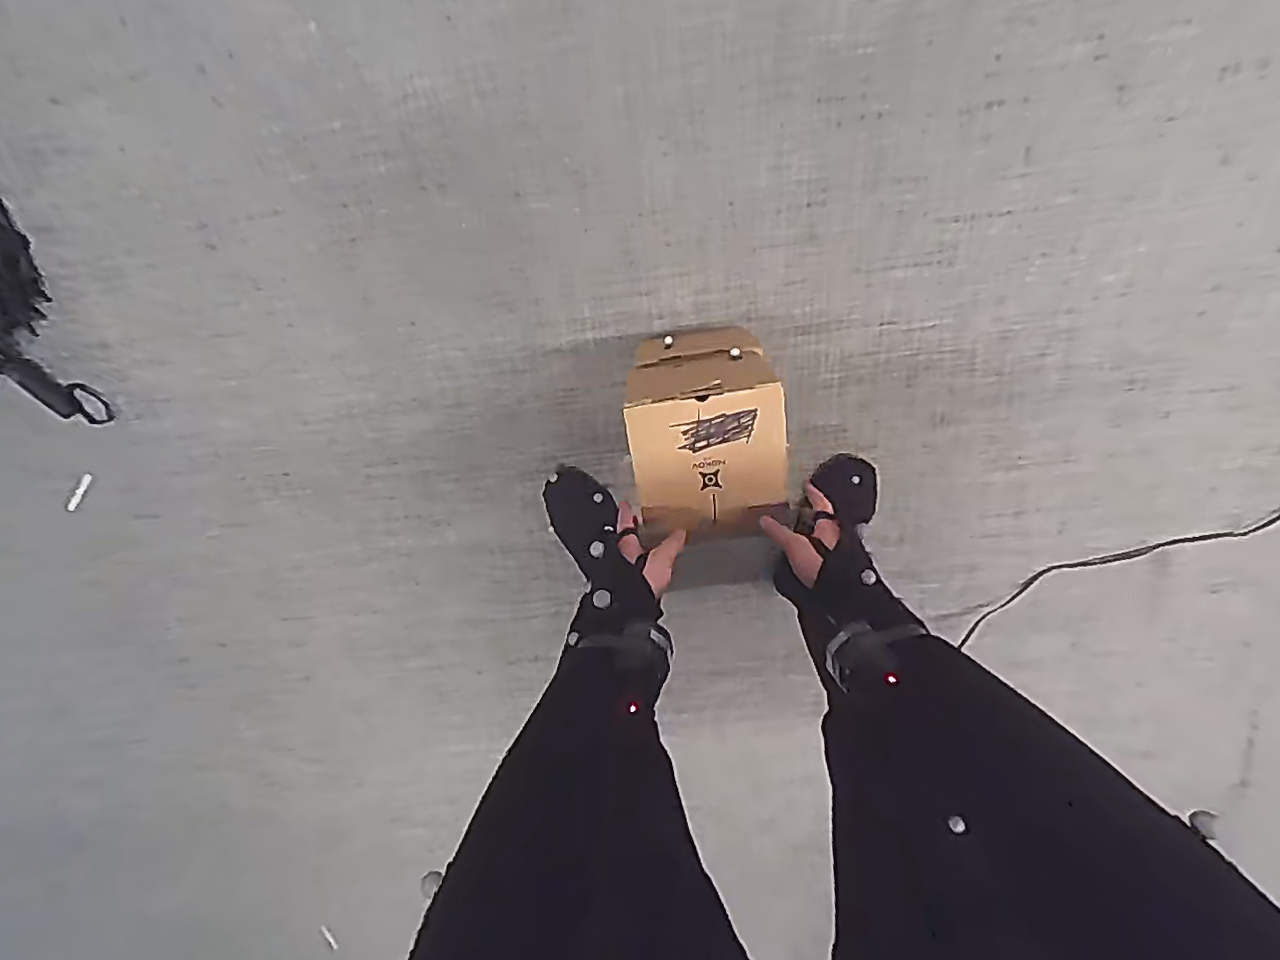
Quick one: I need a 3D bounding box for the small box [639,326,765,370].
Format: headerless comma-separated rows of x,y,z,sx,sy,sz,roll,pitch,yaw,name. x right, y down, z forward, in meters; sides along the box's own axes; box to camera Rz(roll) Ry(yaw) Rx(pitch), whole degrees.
0.090,-0.123,0.796,0.168,0.176,0.179,-6,116,6,small box

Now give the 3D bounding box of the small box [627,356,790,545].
0.080,-0.045,0.651,0.168,0.176,0.179,-6,115,6,small box
